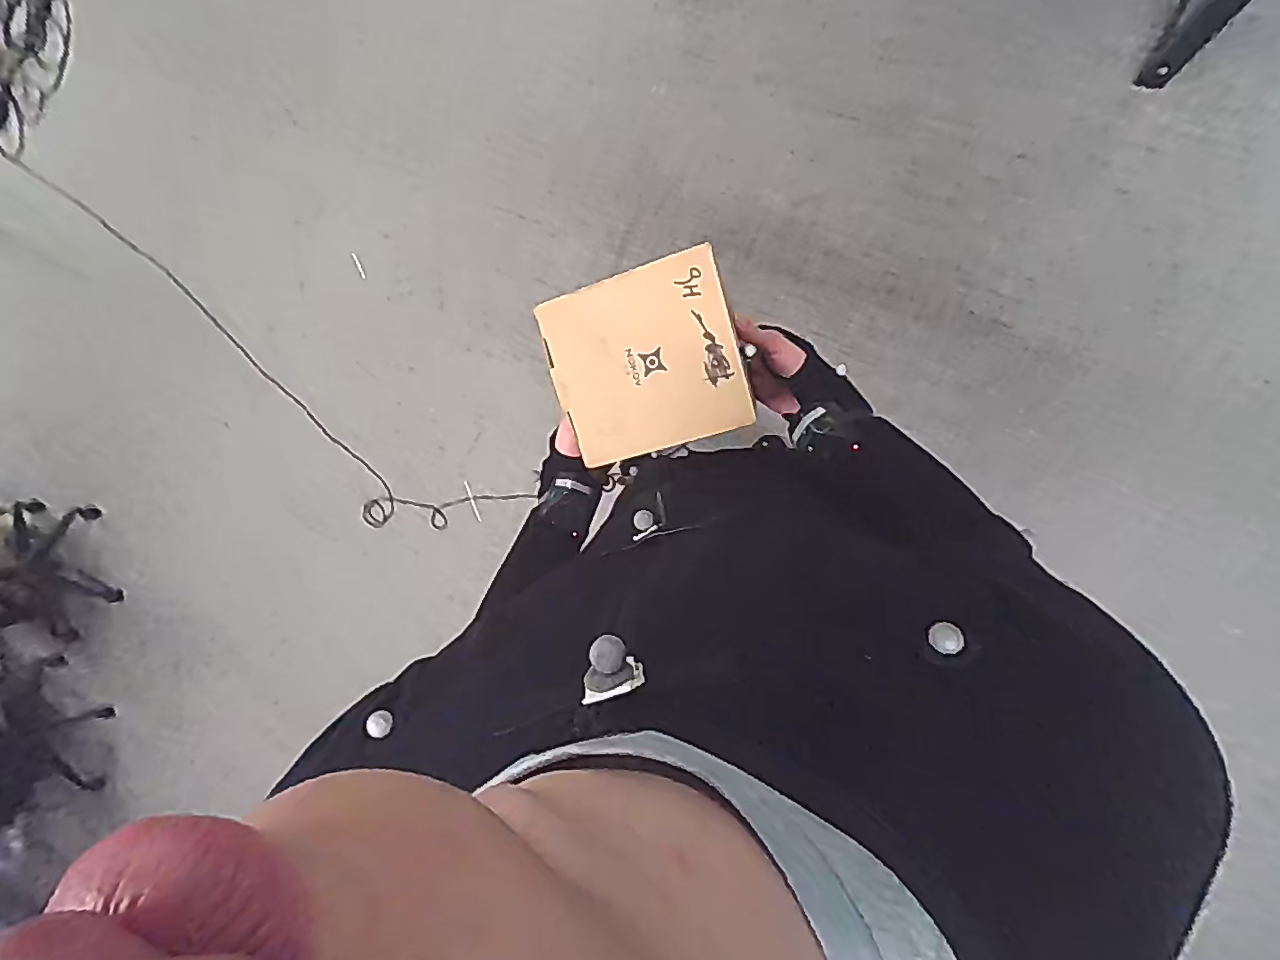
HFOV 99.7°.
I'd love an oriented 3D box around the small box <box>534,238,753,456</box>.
[{"bbox_3d":[0.017,-0.135,0.578,0.179,0.176,0.168,-12,102,15],"label":"small box"}]
